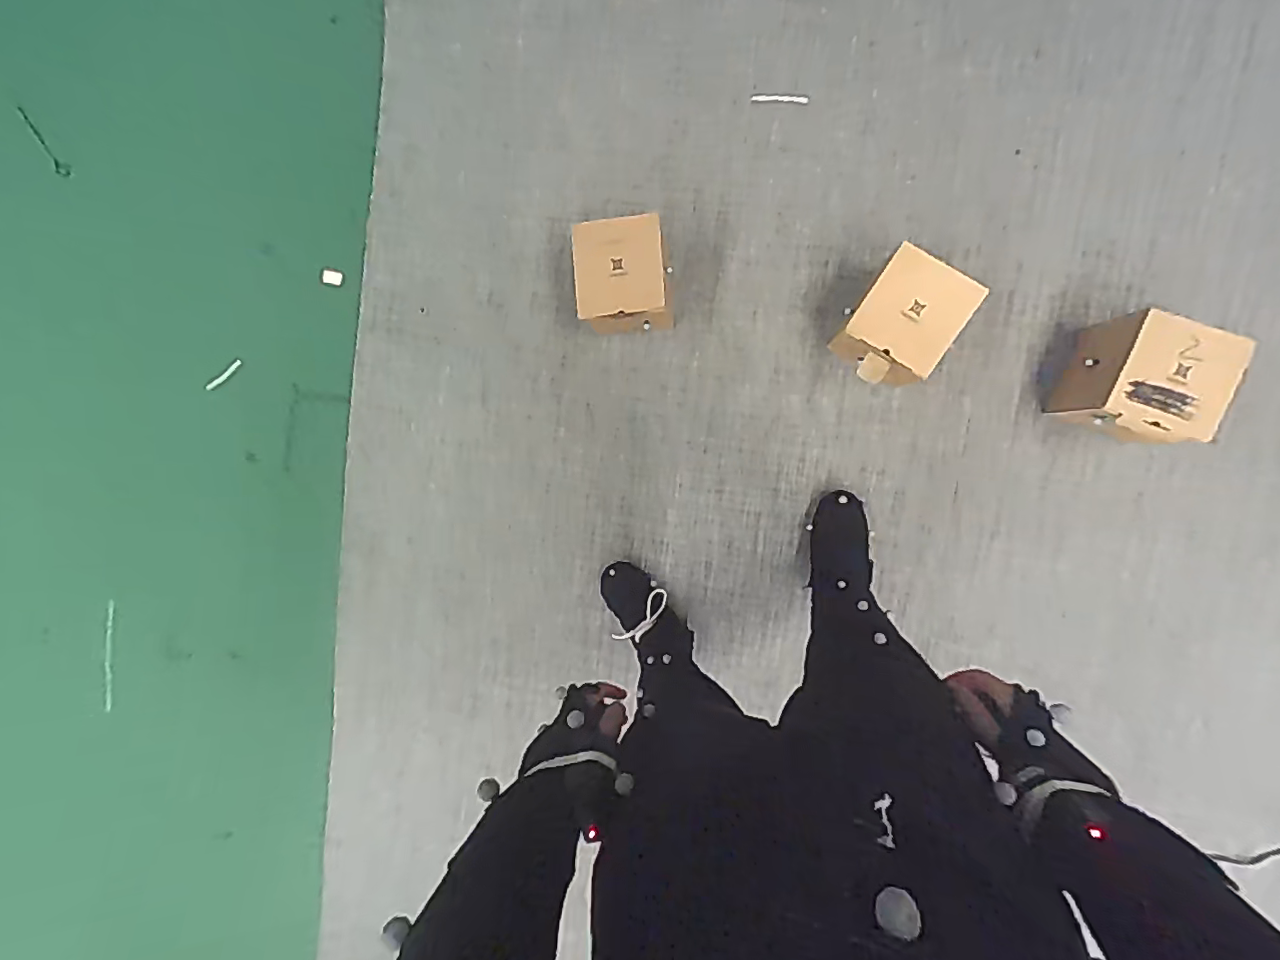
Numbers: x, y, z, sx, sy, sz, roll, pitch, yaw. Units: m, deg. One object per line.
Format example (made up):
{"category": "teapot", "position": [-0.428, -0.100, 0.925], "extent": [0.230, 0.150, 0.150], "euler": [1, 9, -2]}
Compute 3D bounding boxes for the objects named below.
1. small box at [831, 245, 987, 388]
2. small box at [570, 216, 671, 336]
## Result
{"category": "small box", "position": [0.474, -0.287, 0.989], "extent": [0.168, 0.176, 0.179], "euler": [33, 99, 4]}
{"category": "small box", "position": [-0.031, -0.385, 1.057], "extent": [0.168, 0.176, 0.179], "euler": [-4, 92, 8]}
